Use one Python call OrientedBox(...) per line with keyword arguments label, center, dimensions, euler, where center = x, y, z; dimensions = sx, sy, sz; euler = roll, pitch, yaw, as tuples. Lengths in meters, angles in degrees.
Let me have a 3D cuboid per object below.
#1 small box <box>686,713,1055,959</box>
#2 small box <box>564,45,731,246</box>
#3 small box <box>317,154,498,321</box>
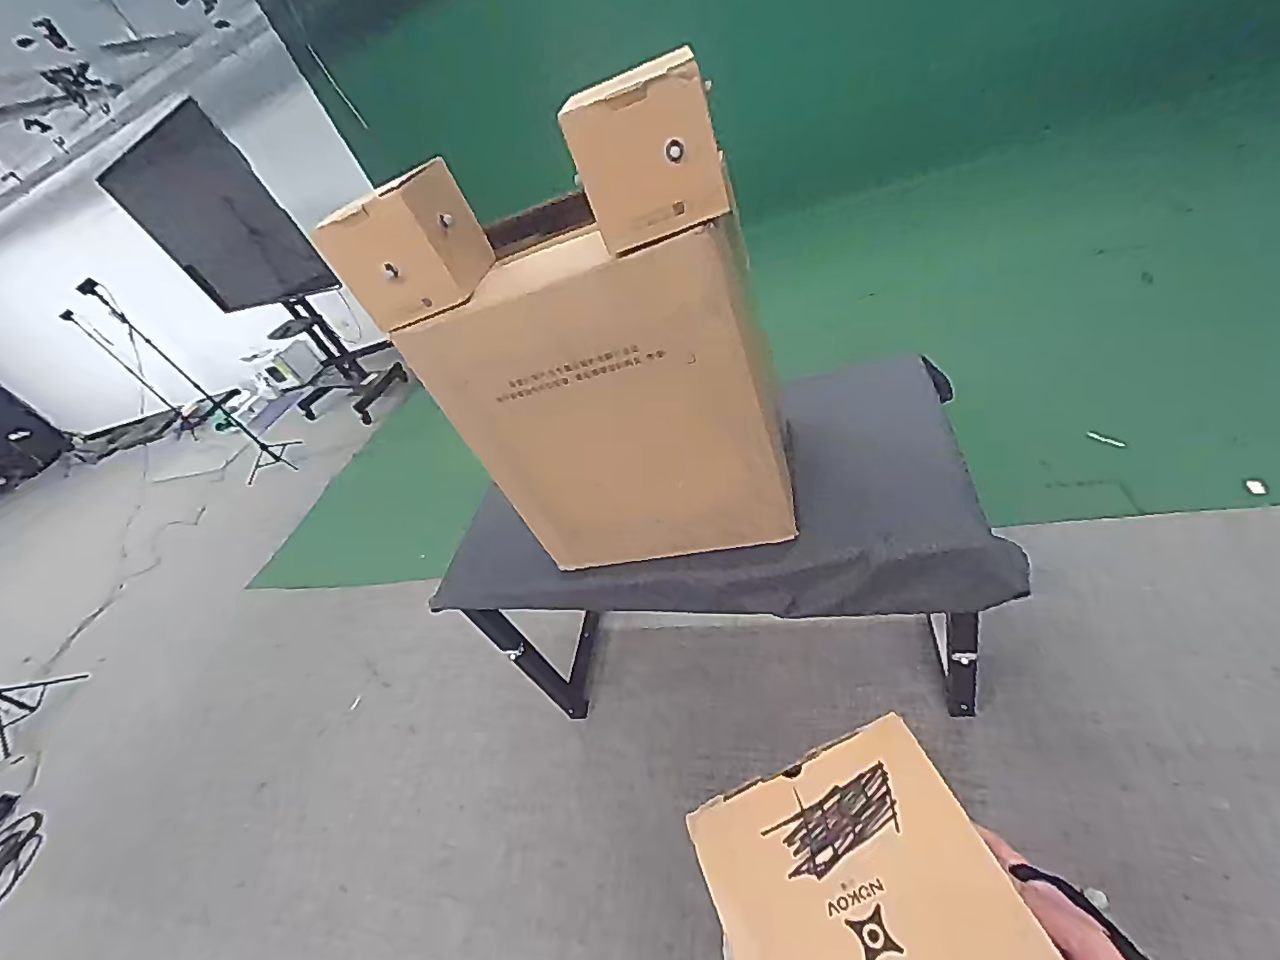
OrientedBox(label="small box", center=(0.153, 0.299, 0.377), dimensions=(0.168, 0.176, 0.179), euler=(-27, 49, 2))
OrientedBox(label="small box", center=(0.018, -0.429, 0.708), dimensions=(0.168, 0.176, 0.179), euler=(-13, 39, 13))
OrientedBox(label="small box", center=(-0.348, -0.372, 0.851), dimensions=(0.168, 0.176, 0.179), euler=(-13, 41, 18))
